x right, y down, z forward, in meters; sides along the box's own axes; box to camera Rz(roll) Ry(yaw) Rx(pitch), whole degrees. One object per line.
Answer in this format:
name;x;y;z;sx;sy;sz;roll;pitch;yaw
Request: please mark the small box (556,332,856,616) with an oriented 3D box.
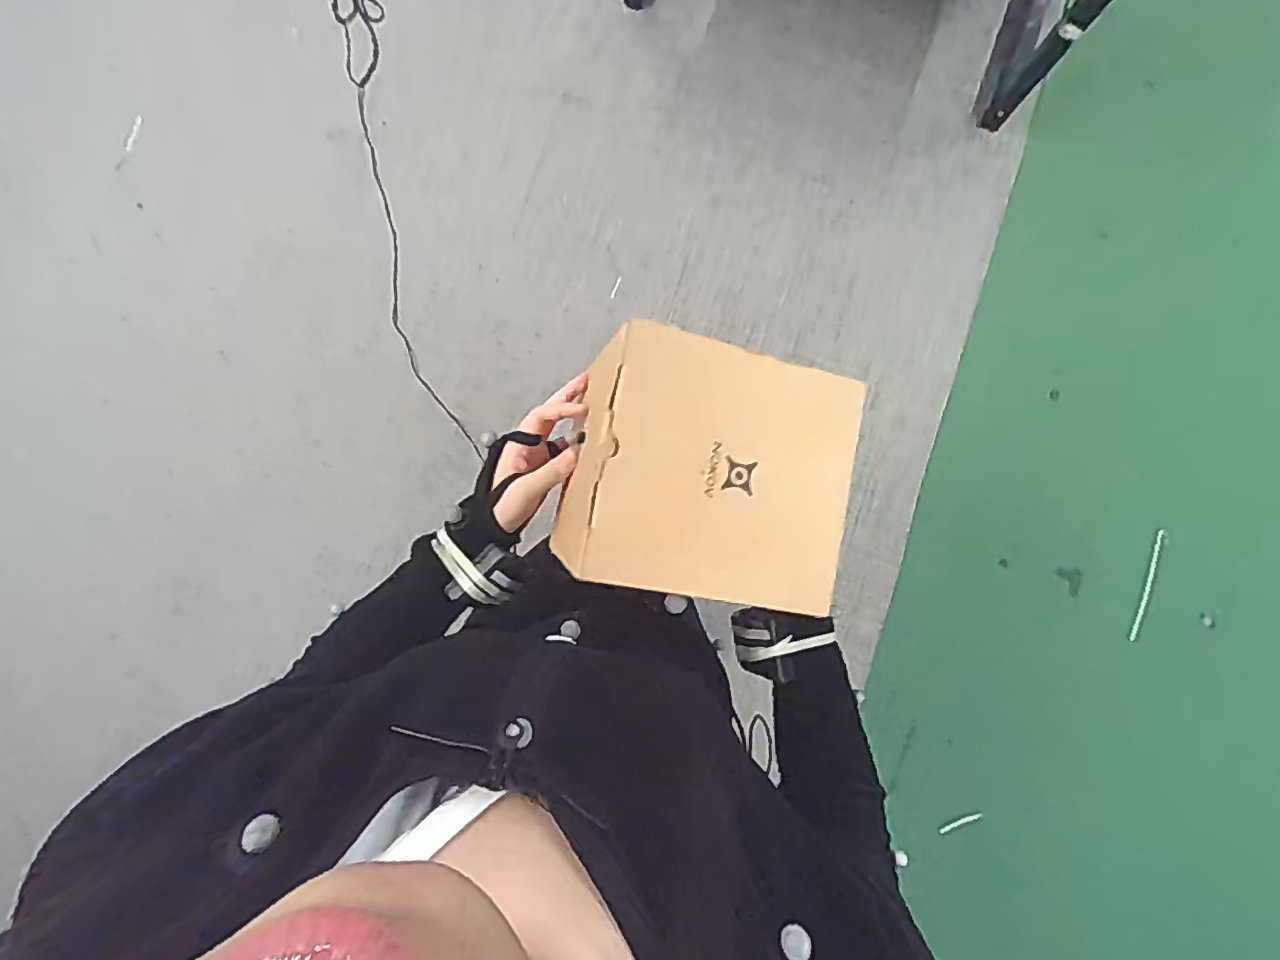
small box;0.038;0.000;0.438;0.179;0.176;0.168;11;86;-14
